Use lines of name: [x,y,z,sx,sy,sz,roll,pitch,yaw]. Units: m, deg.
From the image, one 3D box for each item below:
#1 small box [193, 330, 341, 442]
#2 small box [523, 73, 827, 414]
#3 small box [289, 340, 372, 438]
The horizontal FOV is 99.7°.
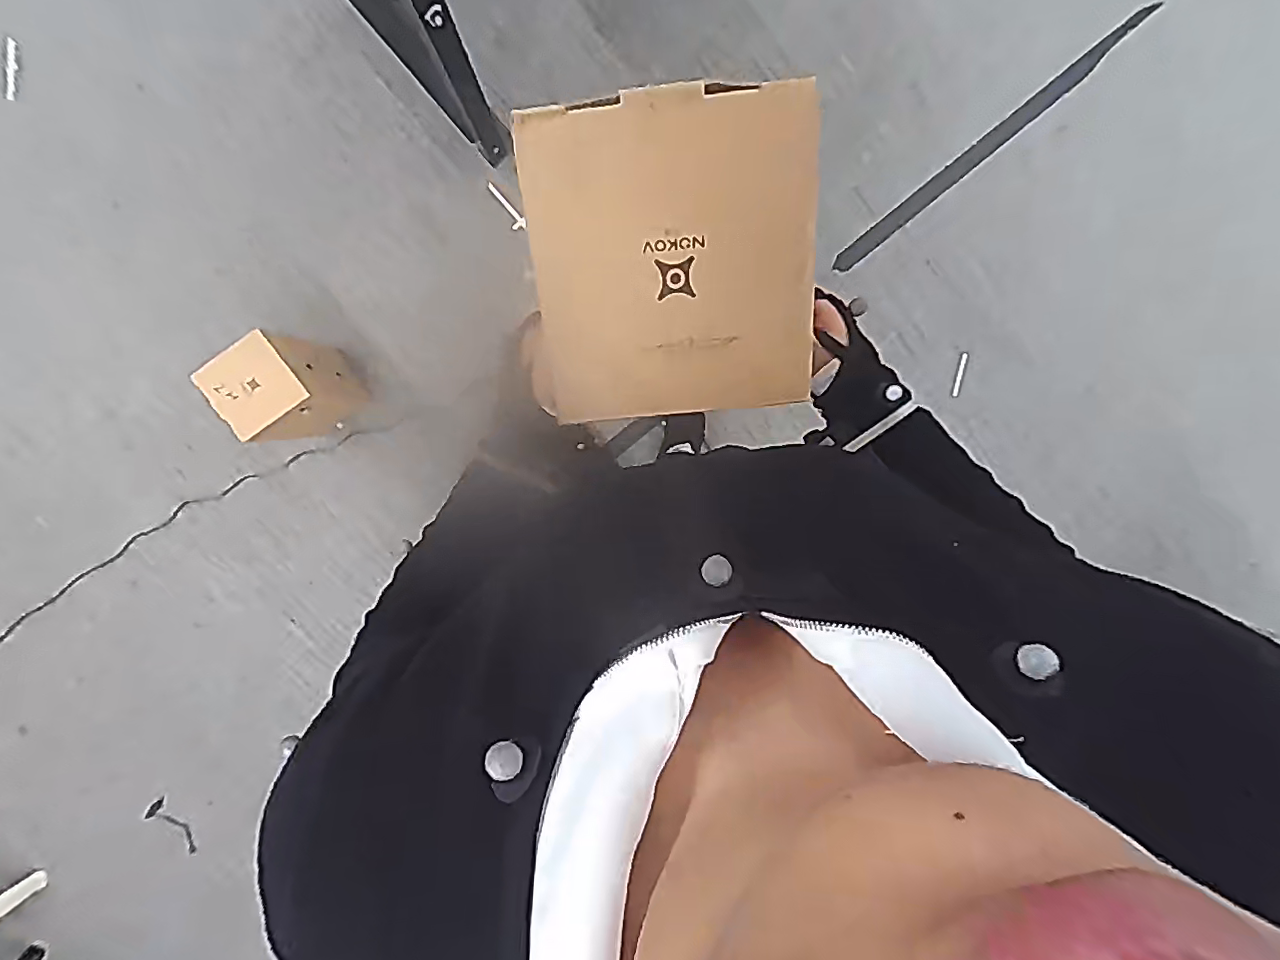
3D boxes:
small box: [-0.791,-0.201,1.175,0.179,0.176,0.168,-35,97,2]
small box: [0.023,-0.160,0.390,0.168,0.176,0.179,-5,115,2]
small box: [-0.810,-0.221,1.338,0.168,0.176,0.179,-32,99,2]
